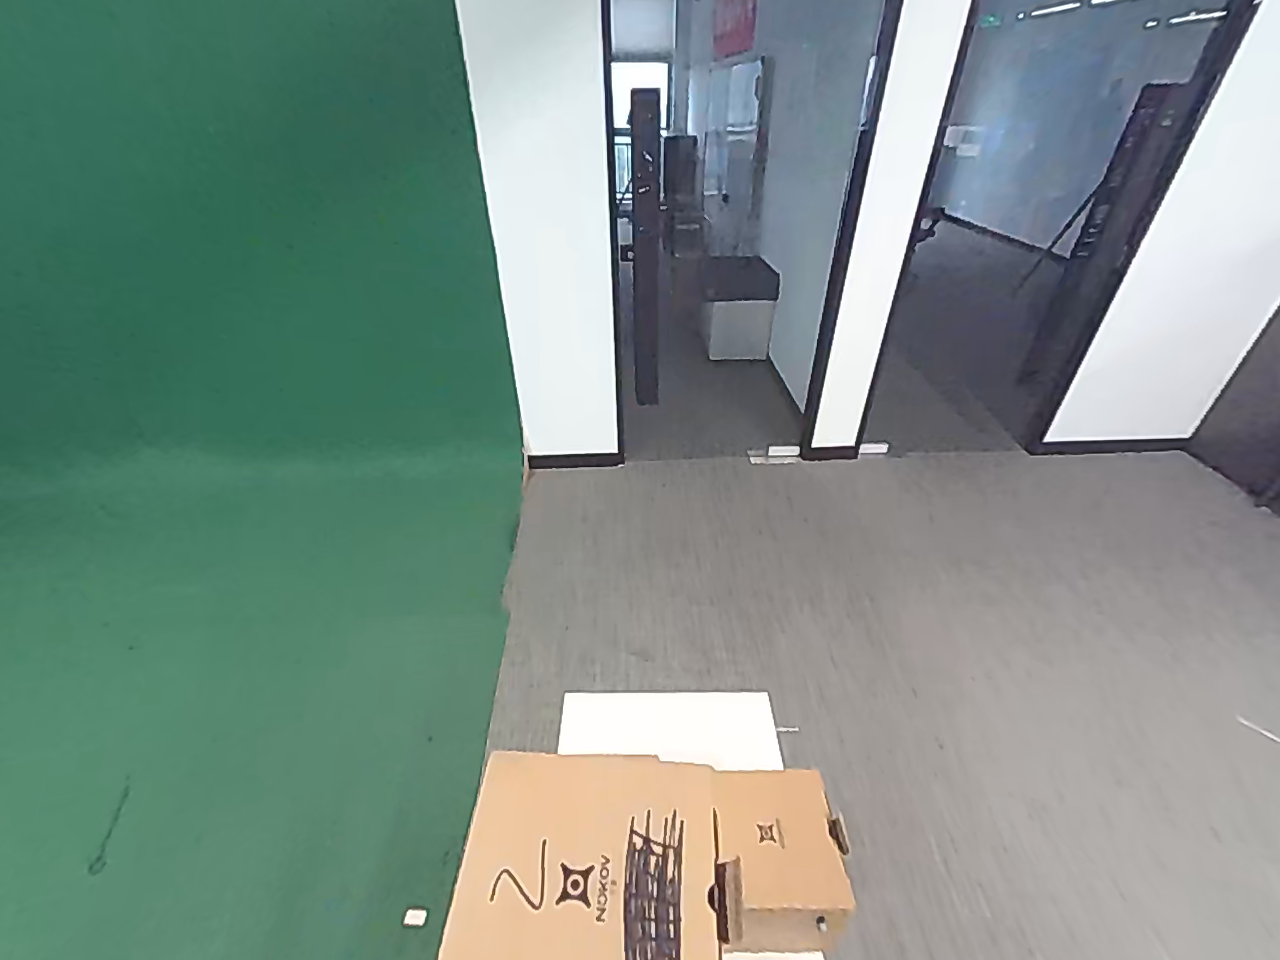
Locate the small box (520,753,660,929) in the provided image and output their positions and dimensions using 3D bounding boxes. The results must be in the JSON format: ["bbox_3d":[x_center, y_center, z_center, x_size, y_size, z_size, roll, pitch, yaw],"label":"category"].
[{"bbox_3d":[-0.061,0.514,0.771,0.179,0.176,0.168,0,36,0],"label":"small box"}]
